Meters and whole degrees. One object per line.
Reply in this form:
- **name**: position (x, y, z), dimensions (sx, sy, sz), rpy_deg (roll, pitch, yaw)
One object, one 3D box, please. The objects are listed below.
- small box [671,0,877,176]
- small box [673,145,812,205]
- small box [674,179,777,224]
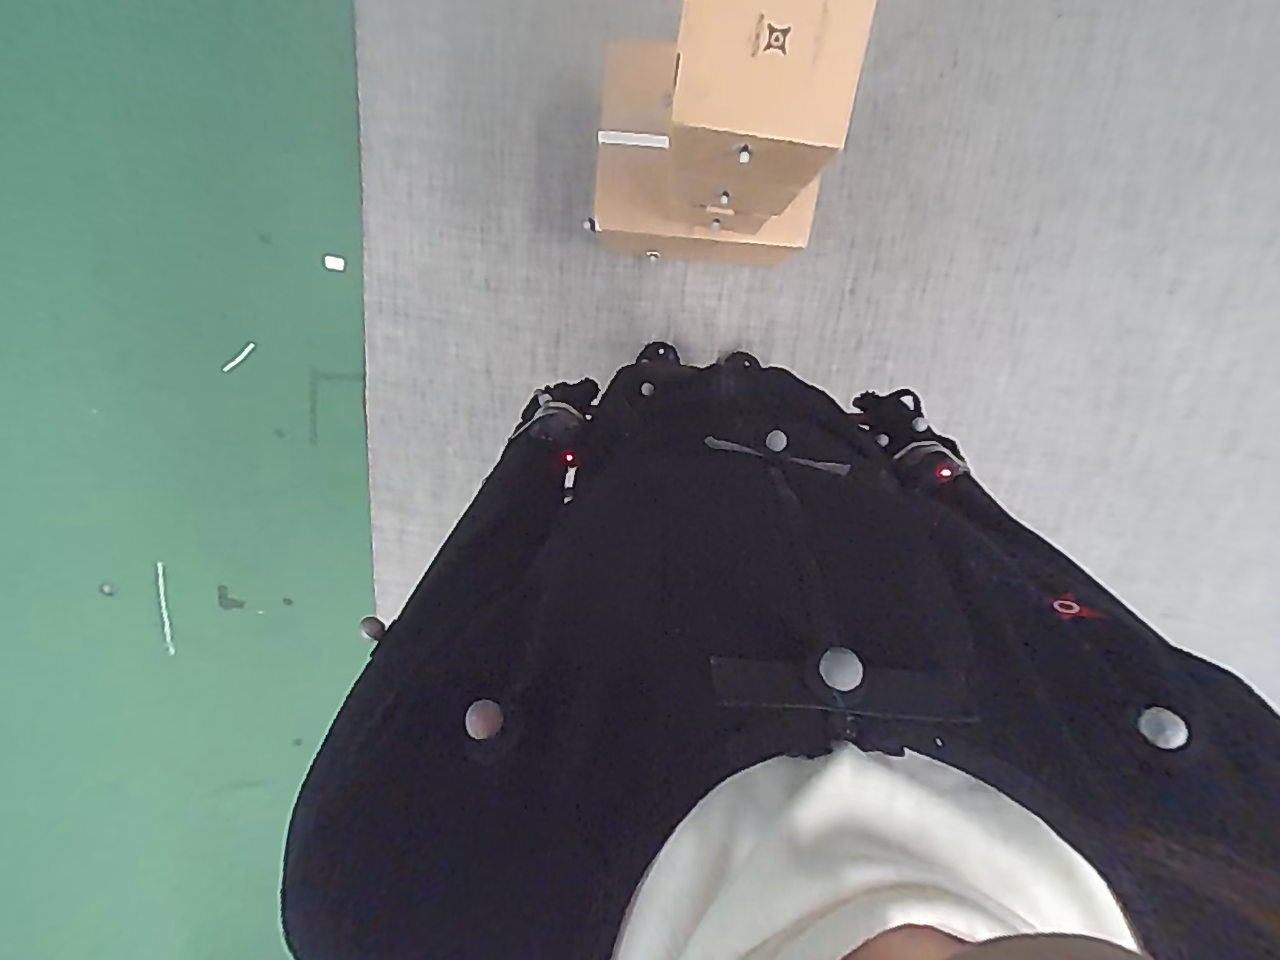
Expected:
- **small box**: position (0.133, -0.443, 0.580), dimensions (0.179, 0.176, 0.168), rpy_deg (9, 108, 2)
- **small box**: position (0.146, -0.487, 0.735), dimensions (0.179, 0.176, 0.168), rpy_deg (9, 107, 3)
- **small box**: position (0.153, -0.536, 0.892), dimensions (0.168, 0.176, 0.179), rpy_deg (10, 107, 2)
